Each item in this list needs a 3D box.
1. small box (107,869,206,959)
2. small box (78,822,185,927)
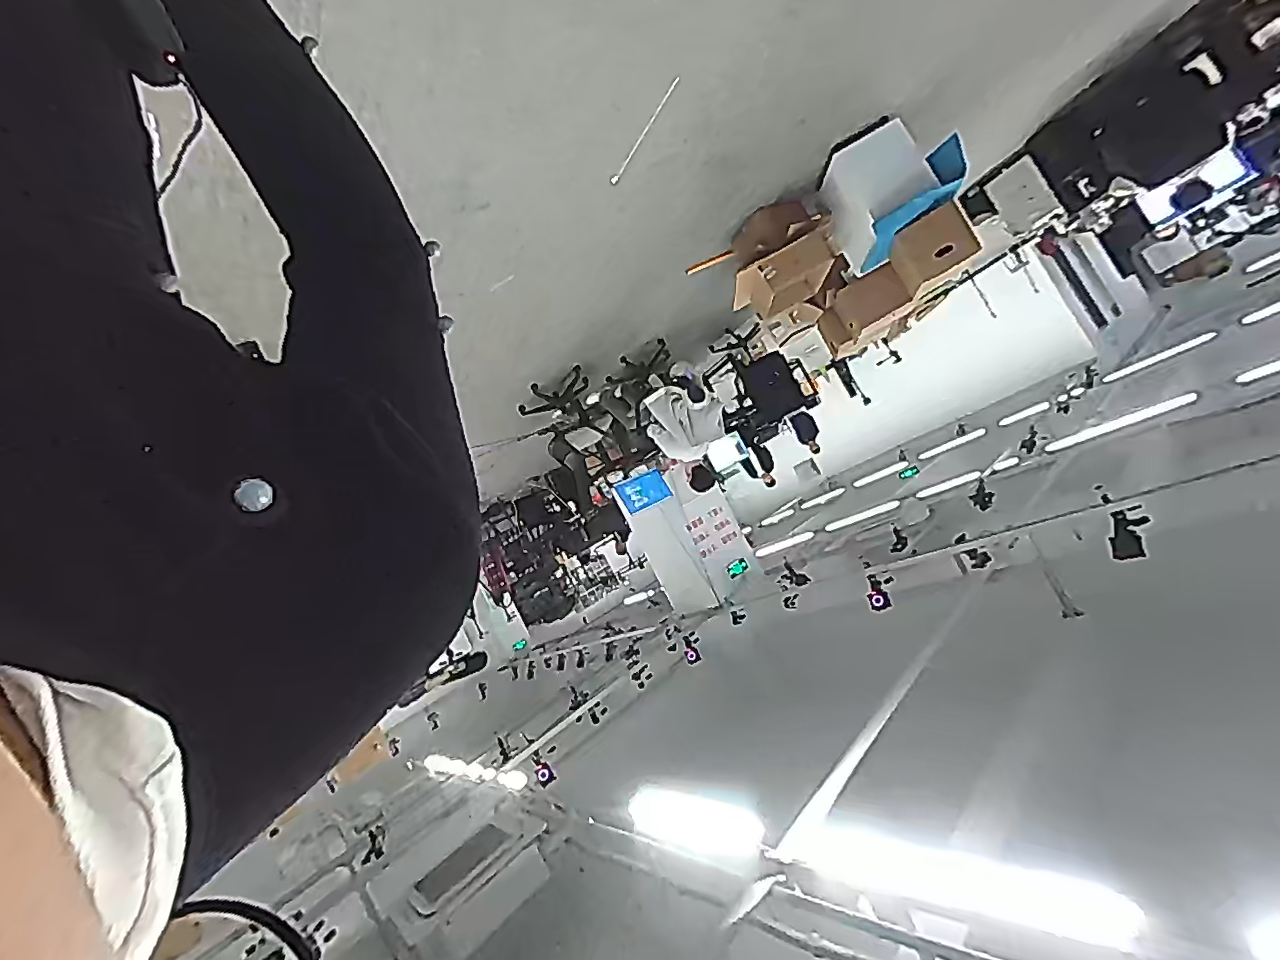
[{"bbox_3d":[-1.387,1.269,1.557,0.168,0.176,0.179,-25,175,-41],"label":"small box"},{"bbox_3d":[-1.461,1.122,1.562,0.179,0.176,0.168,-24,175,-41],"label":"small box"}]
